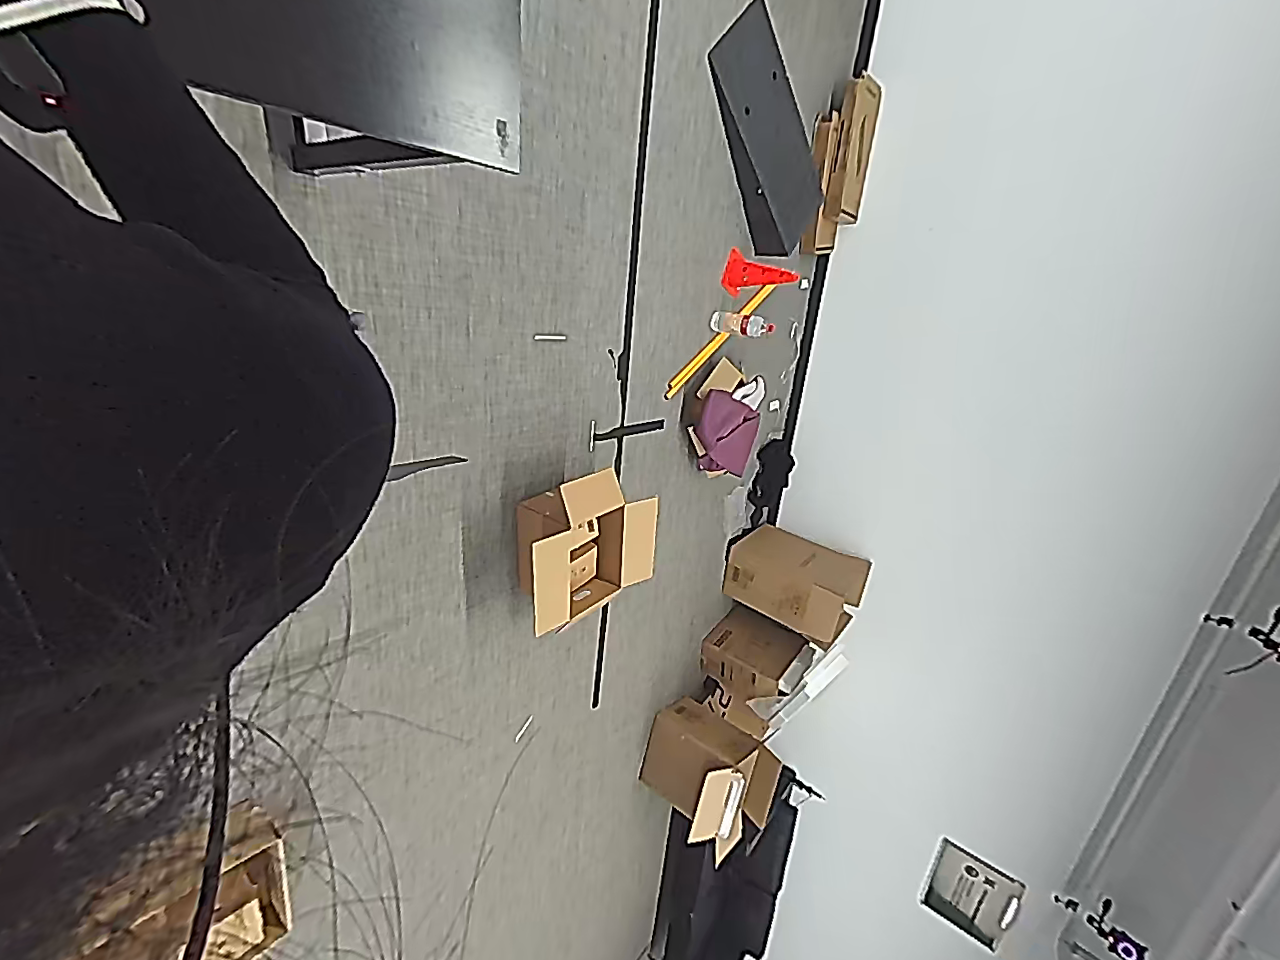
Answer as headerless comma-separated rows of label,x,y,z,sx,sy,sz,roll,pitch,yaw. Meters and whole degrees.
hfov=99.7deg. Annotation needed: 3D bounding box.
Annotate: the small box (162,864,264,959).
small box,-1.162,1.209,1.473,0.179,0.176,0.168,-14,116,-49
